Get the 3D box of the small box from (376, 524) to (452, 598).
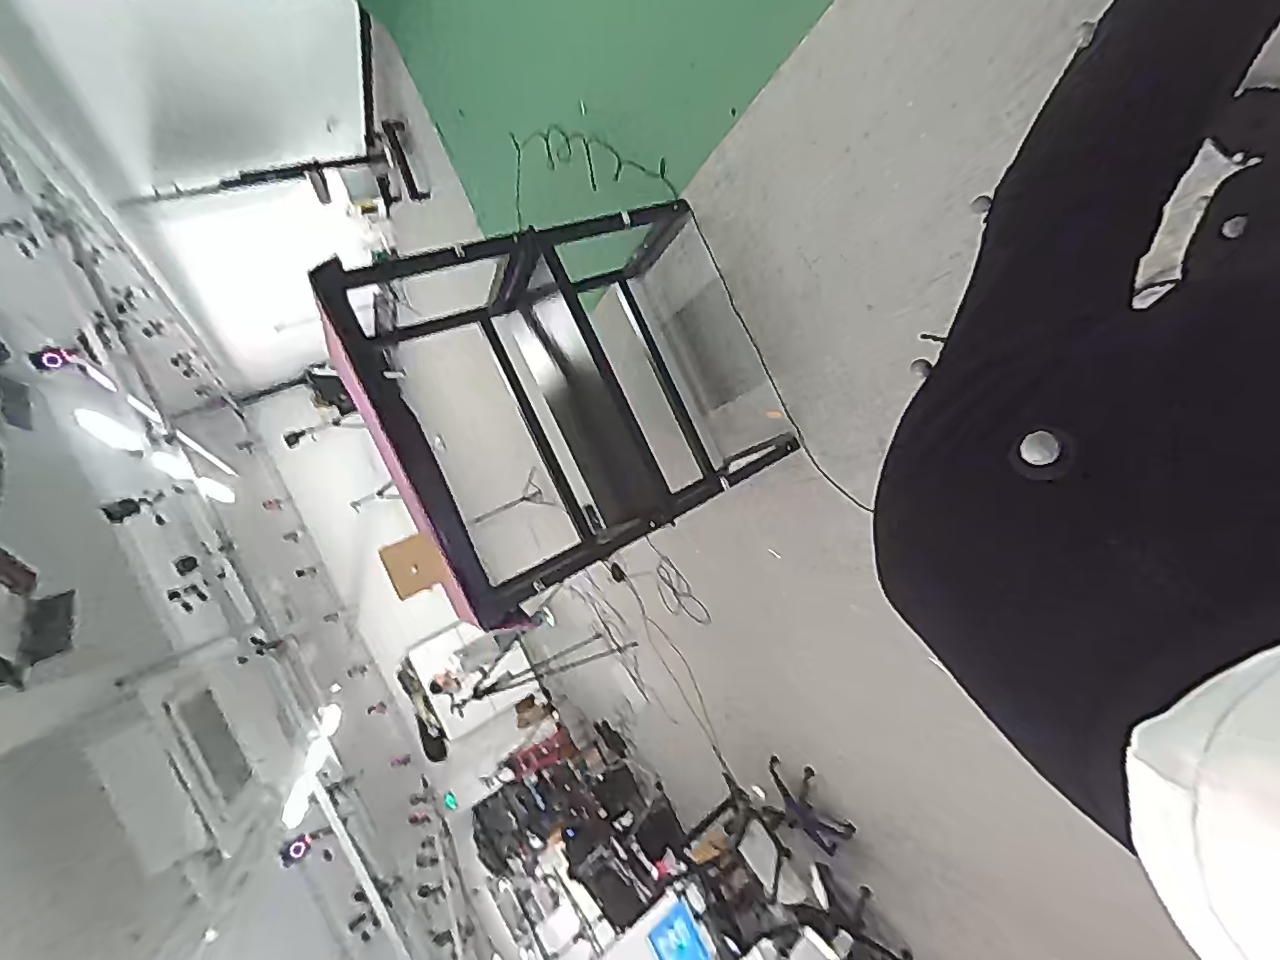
[{"bbox_3d":[-0.716,0.258,1.723,0.179,0.176,0.168,64,154,1],"label":"small box"}]
